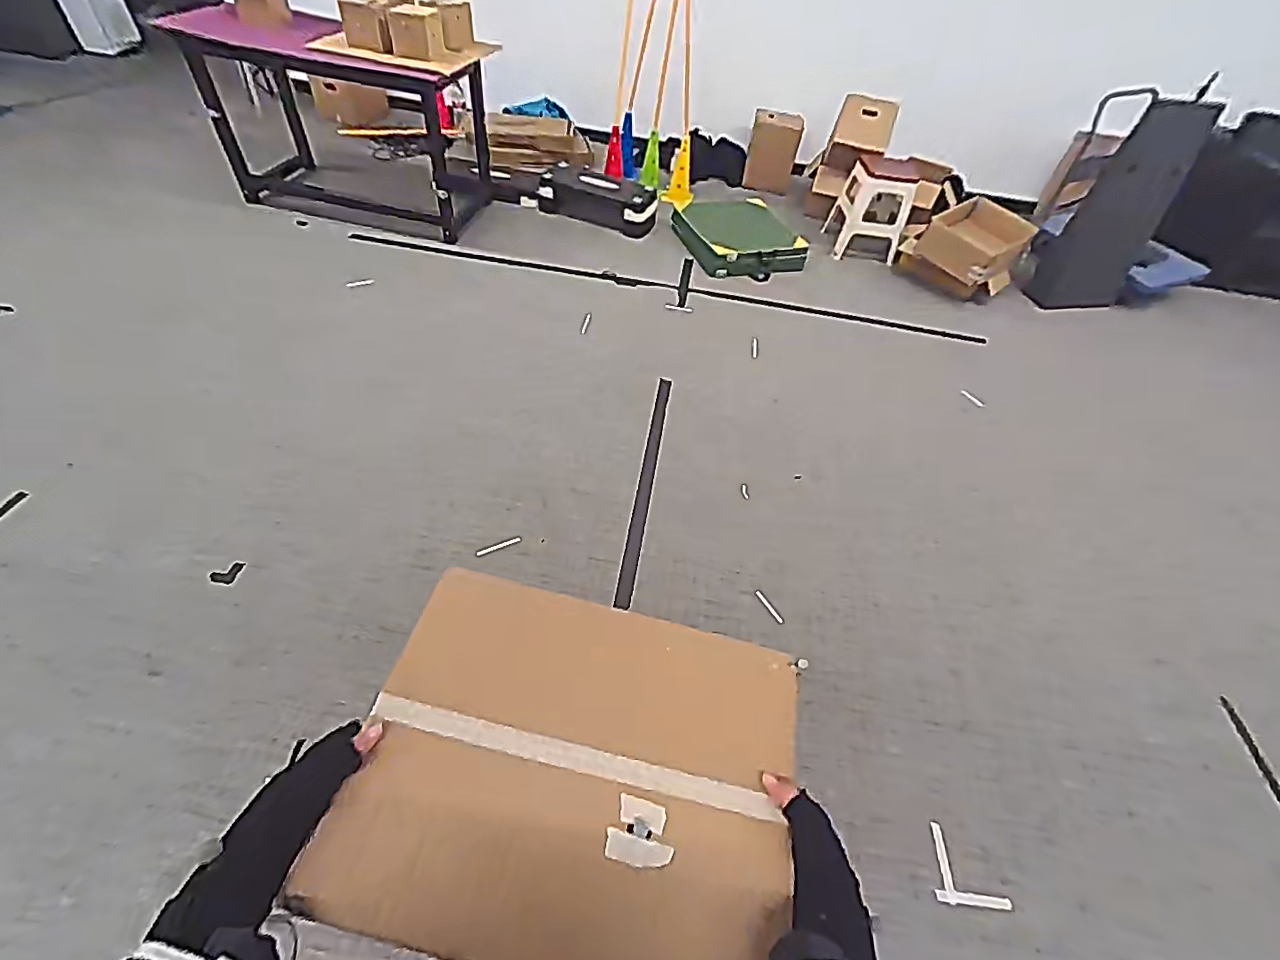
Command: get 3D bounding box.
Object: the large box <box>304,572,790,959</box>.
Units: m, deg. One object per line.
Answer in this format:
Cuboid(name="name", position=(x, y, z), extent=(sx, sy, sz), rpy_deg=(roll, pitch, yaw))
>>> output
Cuboid(name="large box", position=(-0.073, 0.356, 0.637), extent=(0.408, 0.320, 0.320), rpy_deg=(14, 51, 1))
